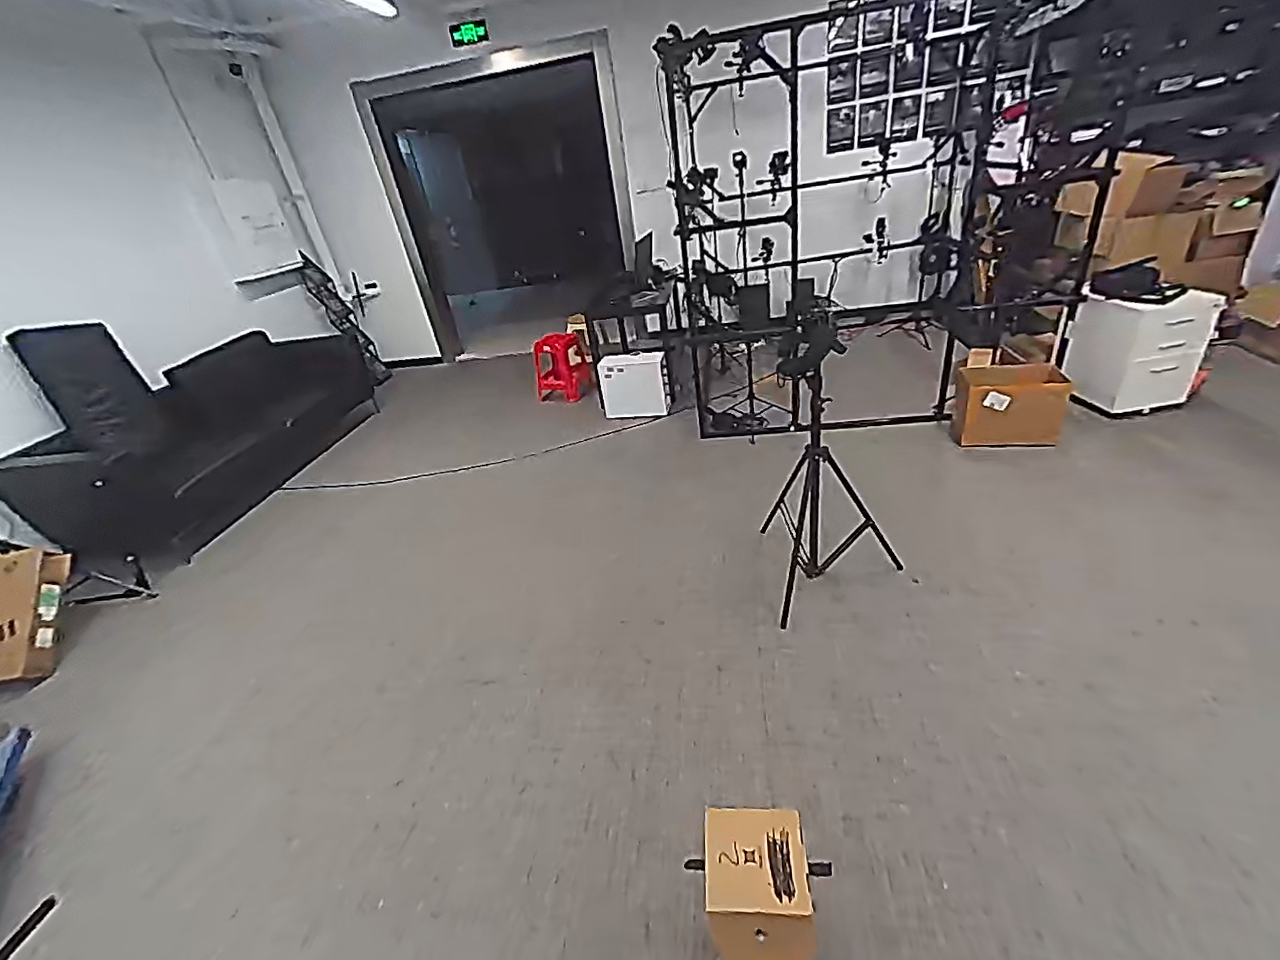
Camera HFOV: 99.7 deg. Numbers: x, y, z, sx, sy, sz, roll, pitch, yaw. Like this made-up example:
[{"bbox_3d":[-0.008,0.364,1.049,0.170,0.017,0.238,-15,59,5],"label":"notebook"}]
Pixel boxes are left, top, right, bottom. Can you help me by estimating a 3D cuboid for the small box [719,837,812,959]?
[{"bbox_3d":[0.245,0.854,1.080,0.168,0.176,0.179,-4,31,11],"label":"small box"}]
